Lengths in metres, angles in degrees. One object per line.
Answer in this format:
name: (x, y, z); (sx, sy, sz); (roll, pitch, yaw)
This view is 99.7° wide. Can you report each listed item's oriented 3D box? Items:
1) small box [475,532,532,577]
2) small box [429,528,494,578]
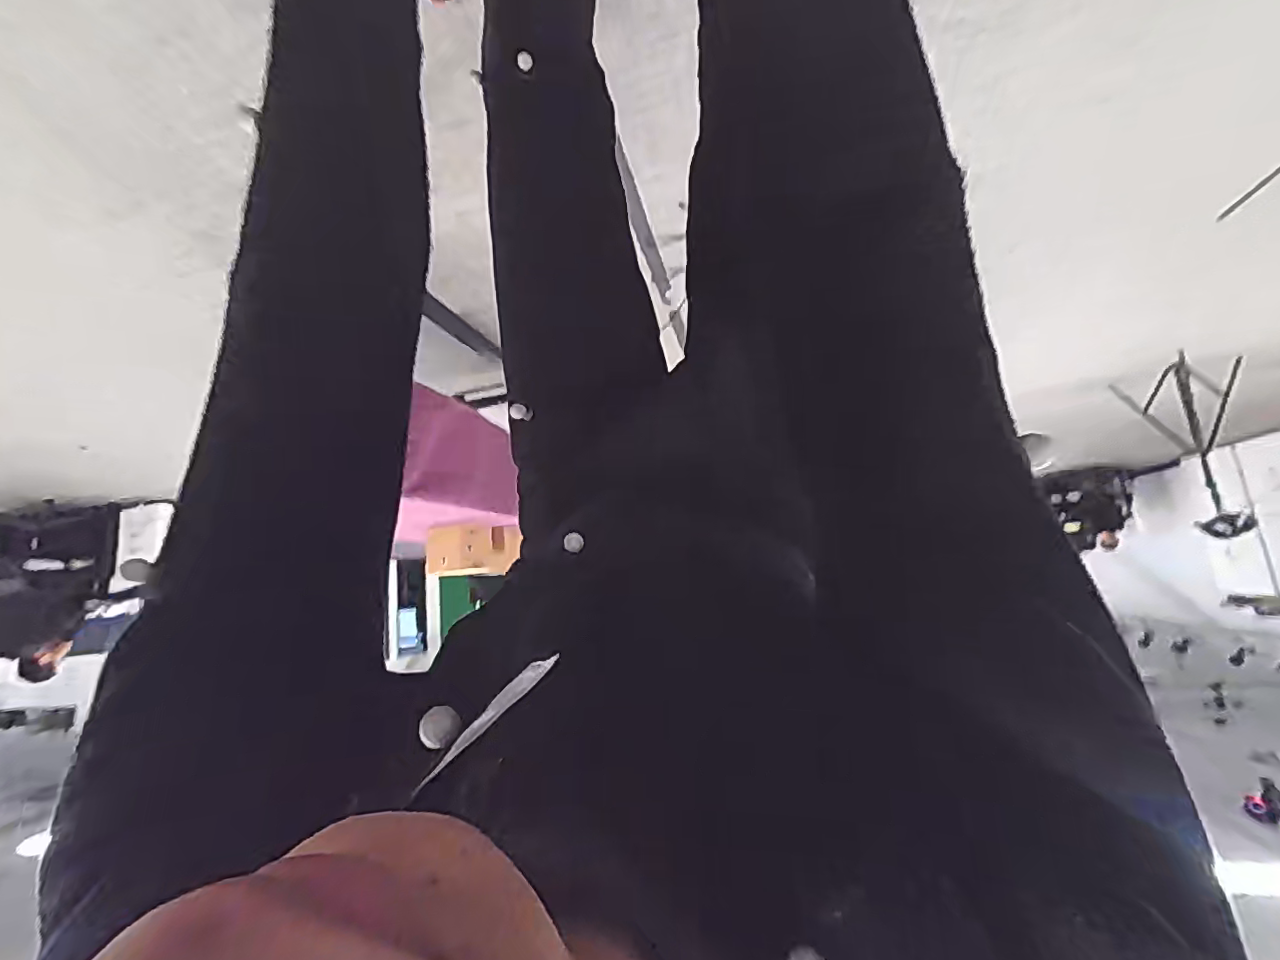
small box: (-0.576, 0.311, 2.265); (0.179, 0.176, 0.168); (-10, 168, 25)
small box: (-0.676, 0.274, 2.037); (0.179, 0.176, 0.168); (-11, 167, 26)
